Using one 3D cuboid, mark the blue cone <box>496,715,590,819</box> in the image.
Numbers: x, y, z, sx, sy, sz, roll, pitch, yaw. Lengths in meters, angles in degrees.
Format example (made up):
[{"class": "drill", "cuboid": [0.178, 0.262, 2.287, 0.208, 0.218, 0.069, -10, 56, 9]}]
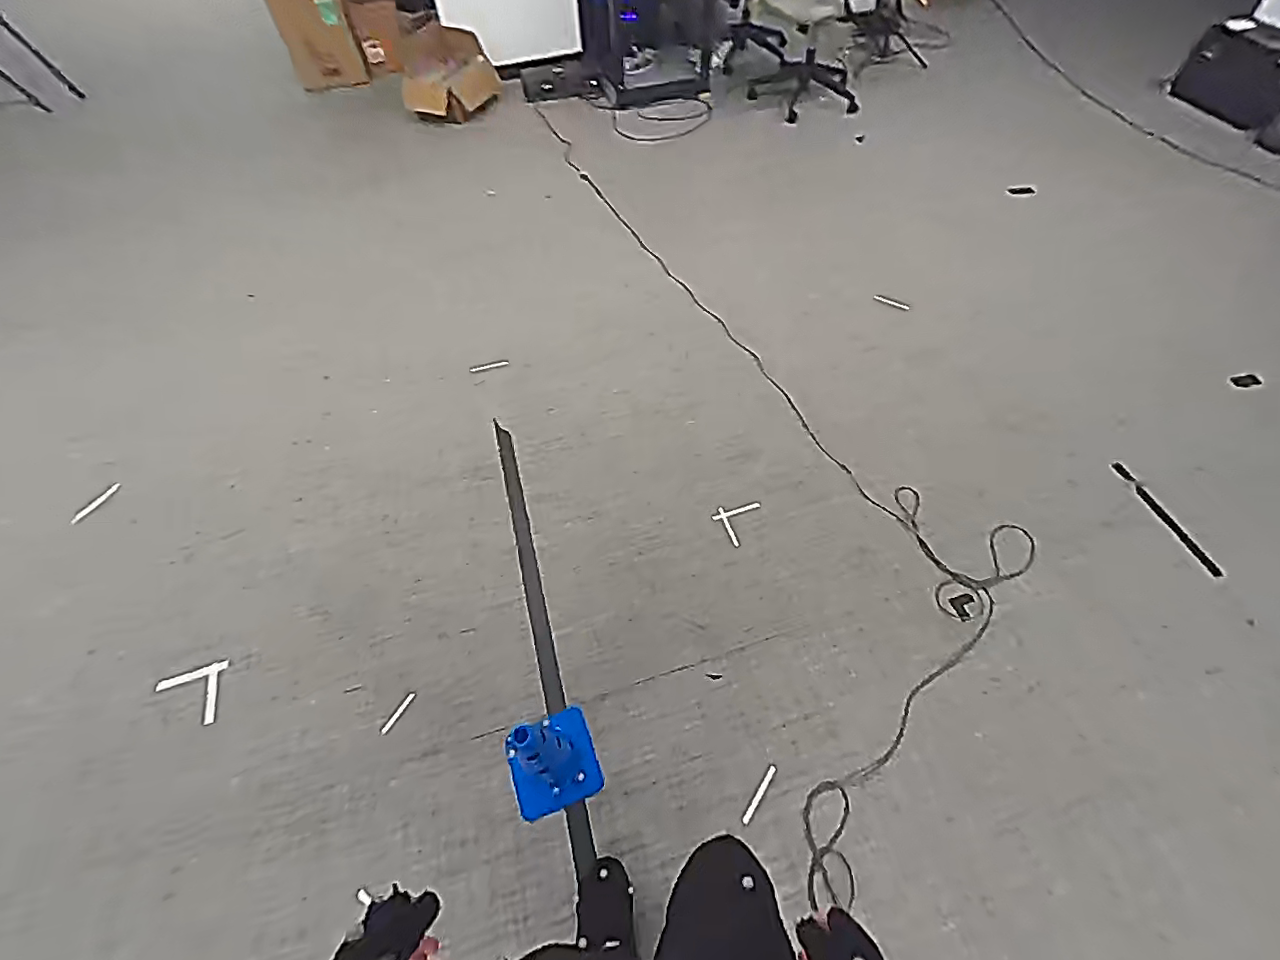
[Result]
[{"class": "blue cone", "cuboid": [-0.231, 0.583, 1.150, 0.192, 0.380, 0.193, -18, 57, -9]}]
